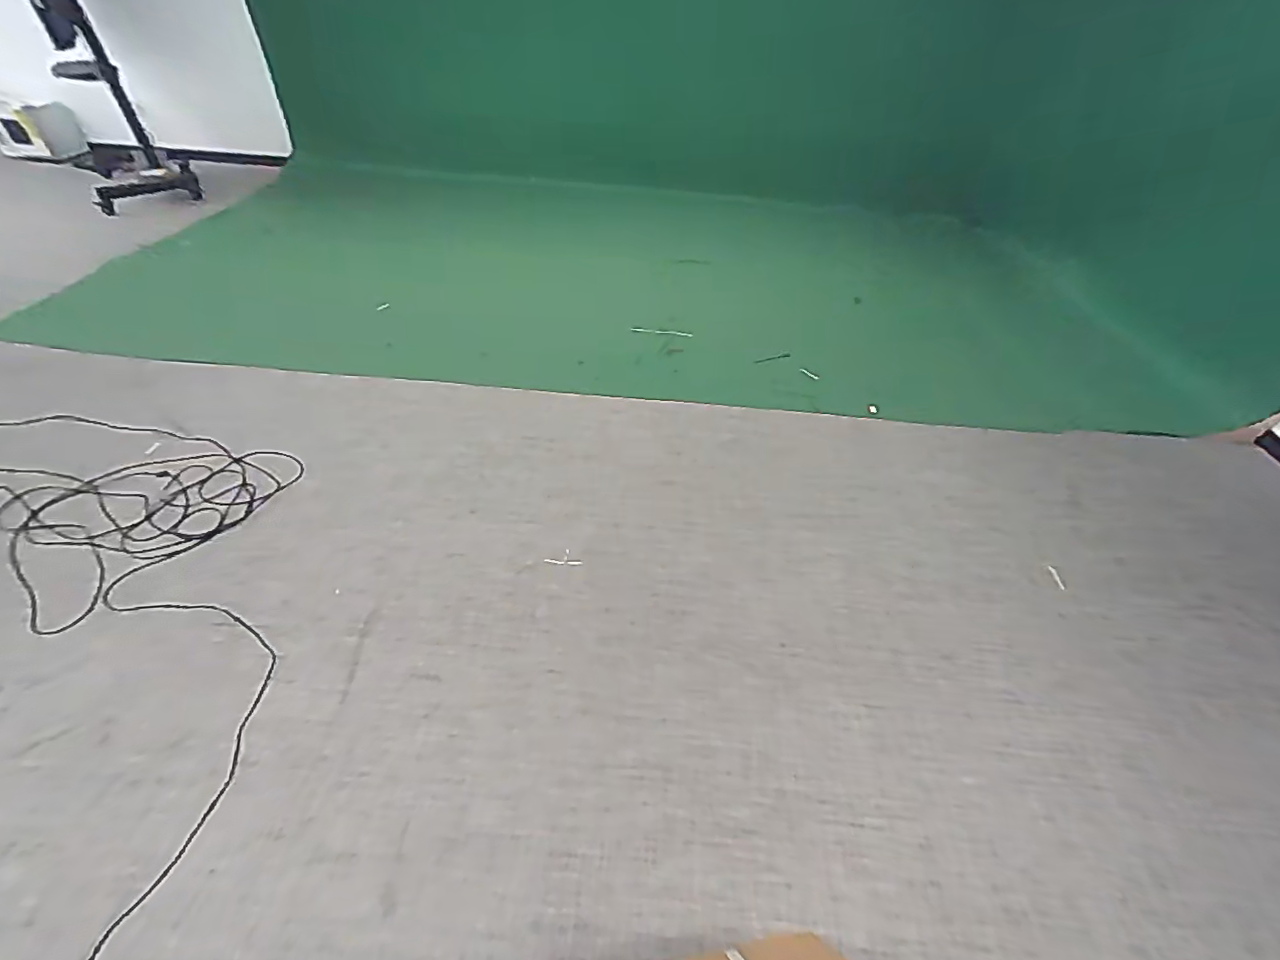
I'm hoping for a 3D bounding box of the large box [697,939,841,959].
[{"bbox_3d":[0.202,0.842,0.639,0.320,0.408,0.320,-1,71,-13],"label":"large box"}]
